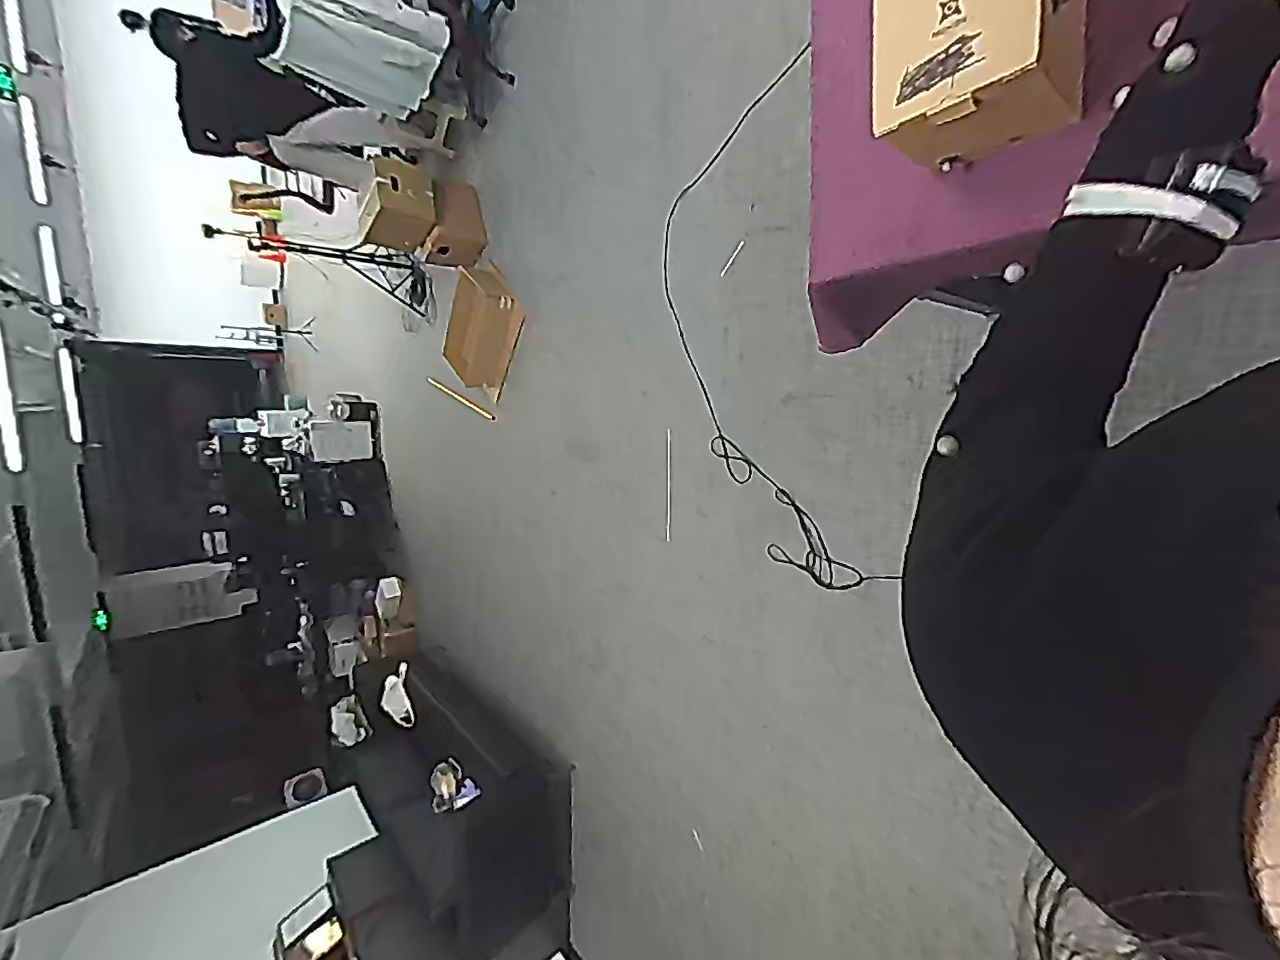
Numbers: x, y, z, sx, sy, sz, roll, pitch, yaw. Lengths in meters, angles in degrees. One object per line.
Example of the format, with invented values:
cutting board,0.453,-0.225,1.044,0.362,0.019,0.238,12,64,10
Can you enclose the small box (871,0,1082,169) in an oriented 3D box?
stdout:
small box,0.390,-0.490,0.629,0.168,0.176,0.179,5,98,50
